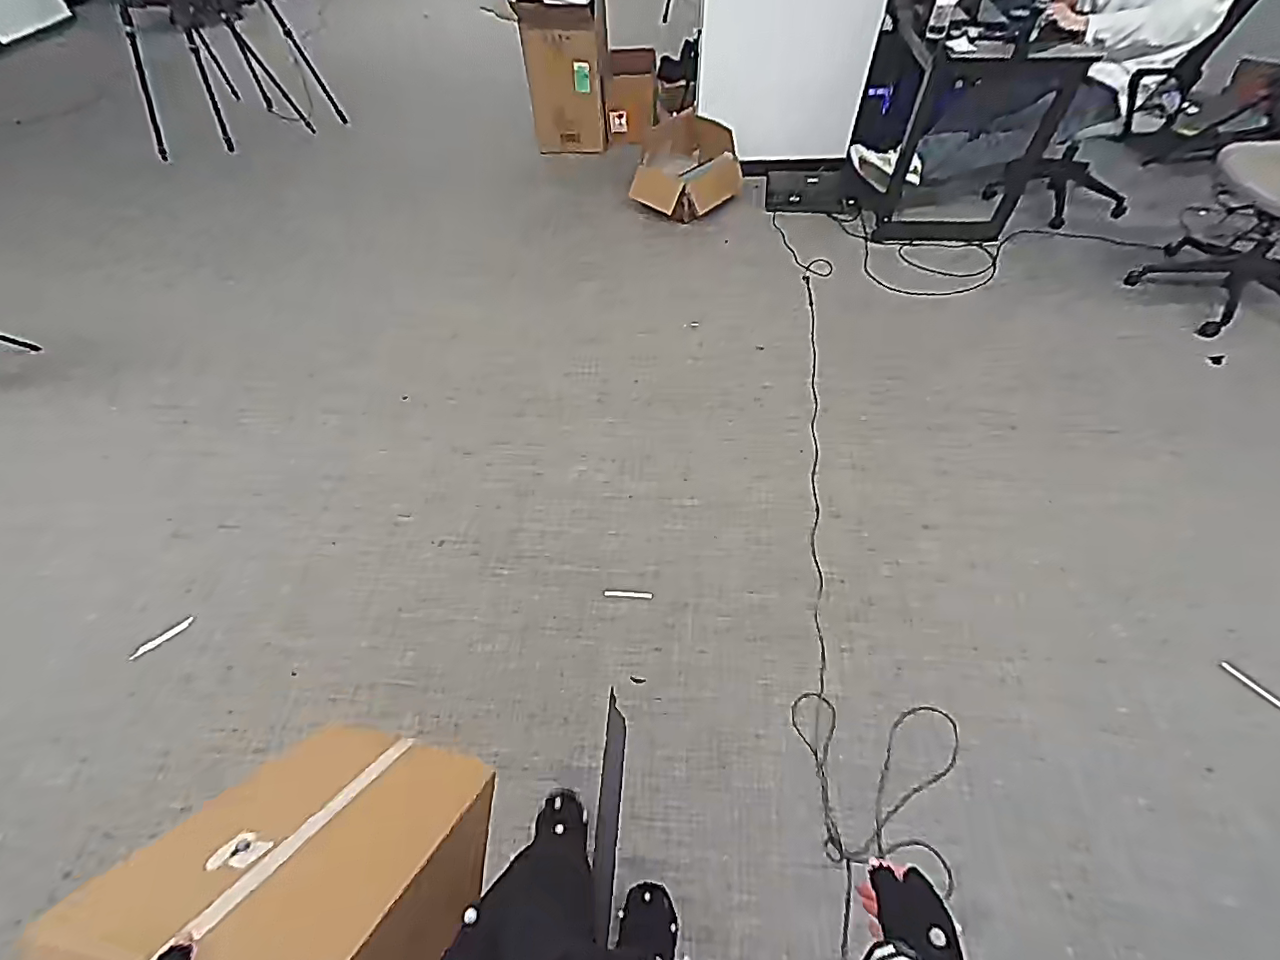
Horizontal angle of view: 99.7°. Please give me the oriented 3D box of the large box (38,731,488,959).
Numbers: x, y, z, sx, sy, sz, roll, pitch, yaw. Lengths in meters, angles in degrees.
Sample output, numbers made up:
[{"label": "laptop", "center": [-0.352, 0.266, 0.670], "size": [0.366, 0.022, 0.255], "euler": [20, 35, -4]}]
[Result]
[{"label": "large box", "center": [-0.451, 0.619, 0.728], "size": [0.320, 0.408, 0.320], "euler": [9, 96, 12]}]
